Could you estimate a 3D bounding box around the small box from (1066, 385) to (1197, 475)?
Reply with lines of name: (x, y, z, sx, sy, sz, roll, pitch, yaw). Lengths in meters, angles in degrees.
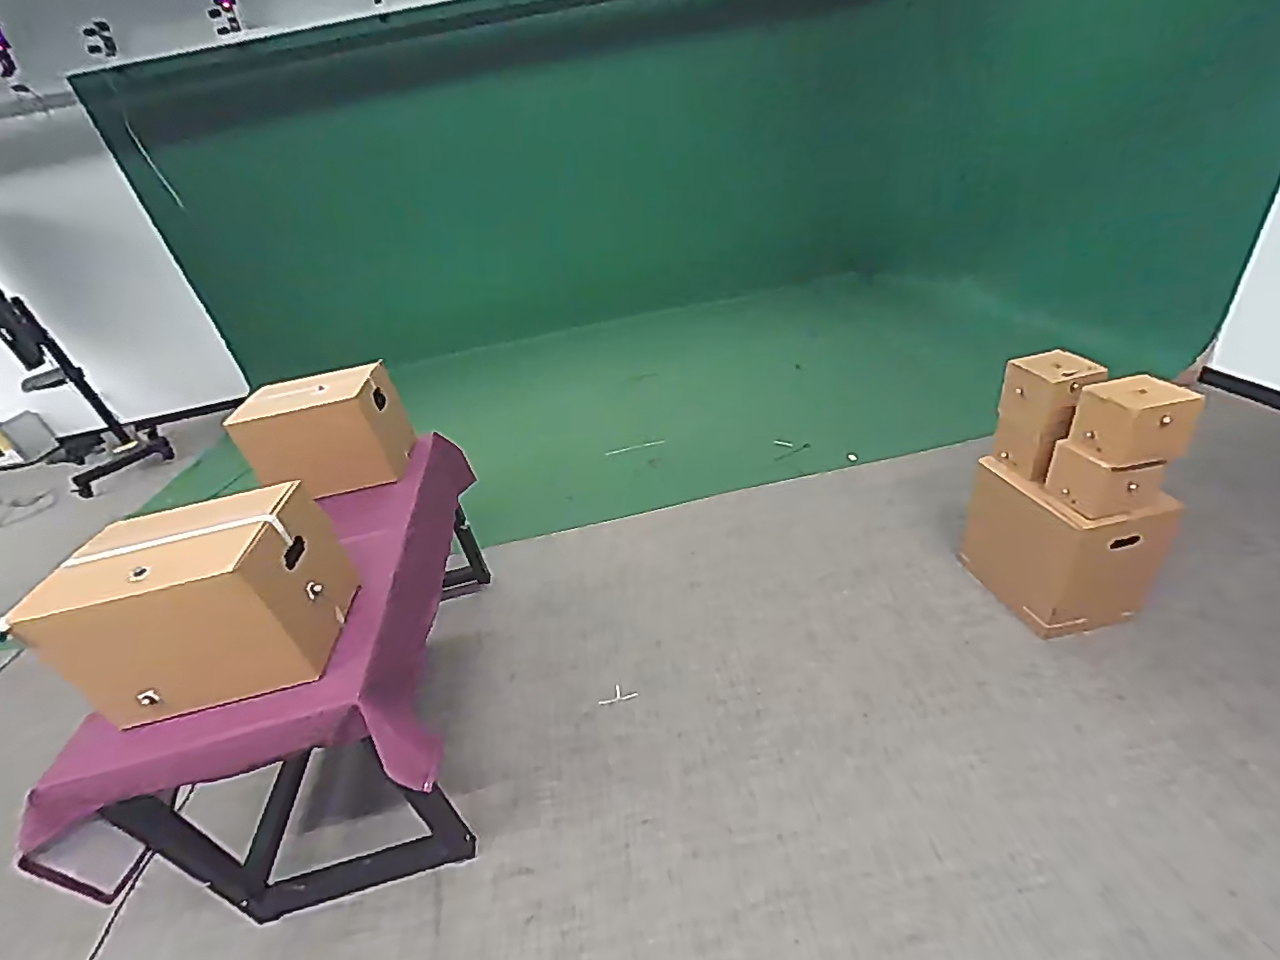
small box: (1.282, -0.132, 1.426, 0.179, 0.176, 0.168, -11, 30, 0)

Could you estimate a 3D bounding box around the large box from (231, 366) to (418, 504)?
large box: (-1.027, -0.157, 1.818, 0.408, 0.320, 0.320, -11, 33, -3)
